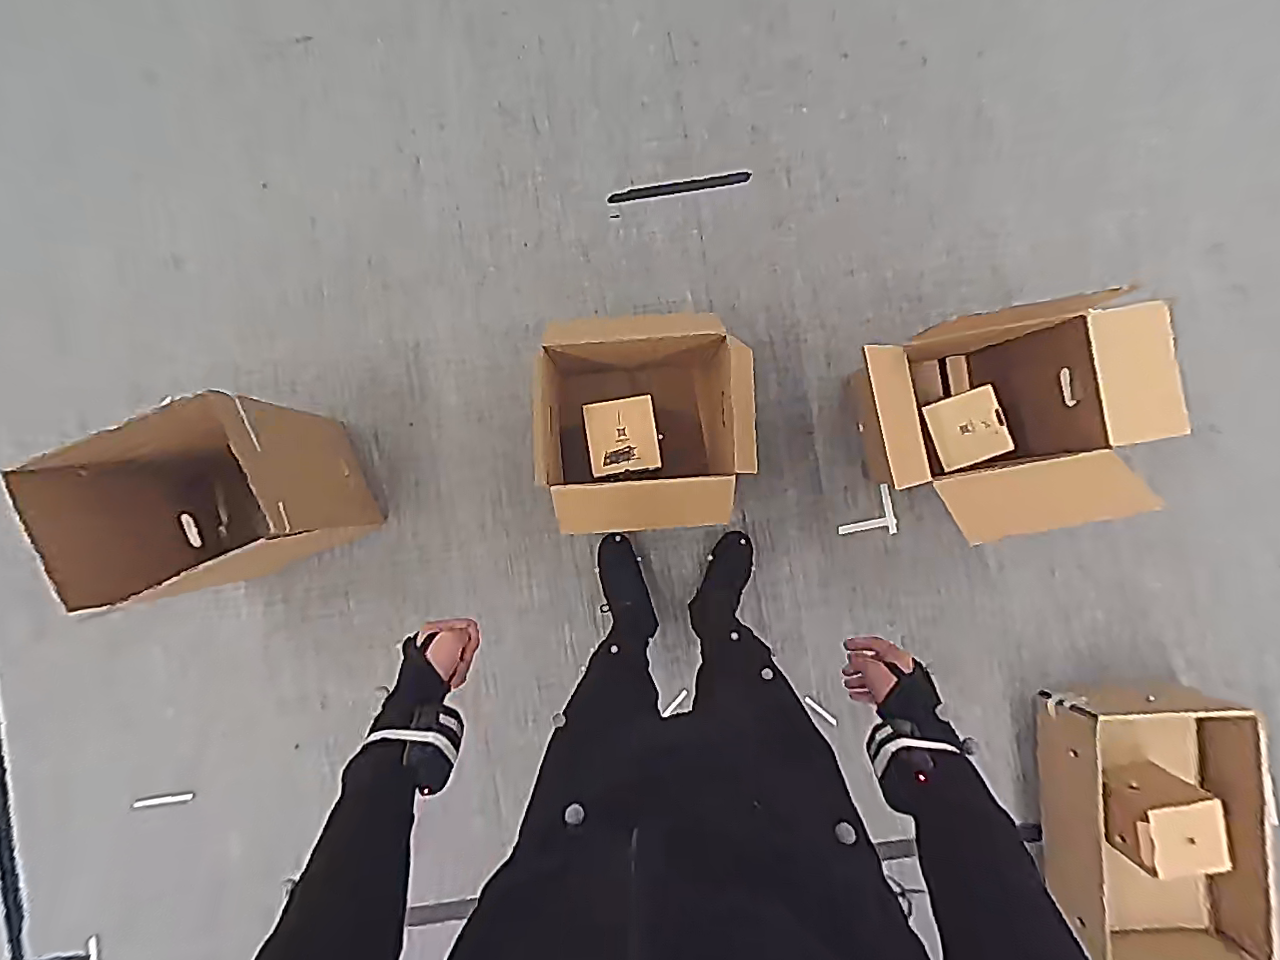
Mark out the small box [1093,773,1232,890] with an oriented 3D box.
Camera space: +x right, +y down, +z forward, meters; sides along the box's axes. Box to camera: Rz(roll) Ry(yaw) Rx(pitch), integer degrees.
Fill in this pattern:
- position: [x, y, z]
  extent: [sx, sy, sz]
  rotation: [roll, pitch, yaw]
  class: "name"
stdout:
- position: [1.233, 0.831, 1.294]
  extent: [0.179, 0.176, 0.168]
  rotation: [-7, 90, -1]
  class: "small box"
